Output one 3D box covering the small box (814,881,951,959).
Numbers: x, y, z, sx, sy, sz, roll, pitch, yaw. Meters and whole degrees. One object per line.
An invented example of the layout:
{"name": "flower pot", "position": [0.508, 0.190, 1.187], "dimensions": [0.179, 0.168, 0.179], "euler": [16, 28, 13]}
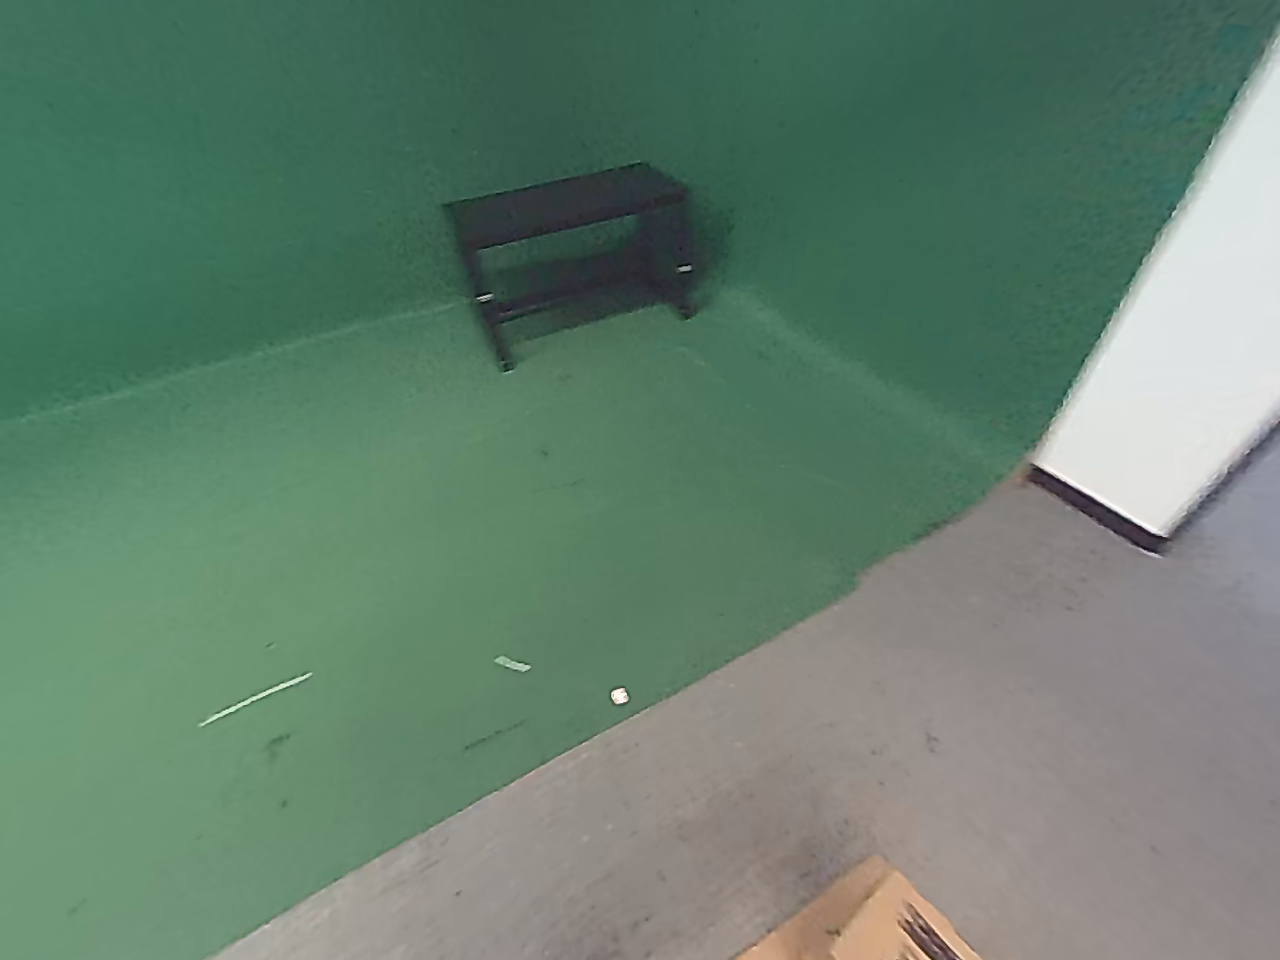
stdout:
{"name": "small box", "position": [0.440, 0.891, 0.992], "dimensions": [0.179, 0.176, 0.168], "euler": [-27, 49, -21]}
